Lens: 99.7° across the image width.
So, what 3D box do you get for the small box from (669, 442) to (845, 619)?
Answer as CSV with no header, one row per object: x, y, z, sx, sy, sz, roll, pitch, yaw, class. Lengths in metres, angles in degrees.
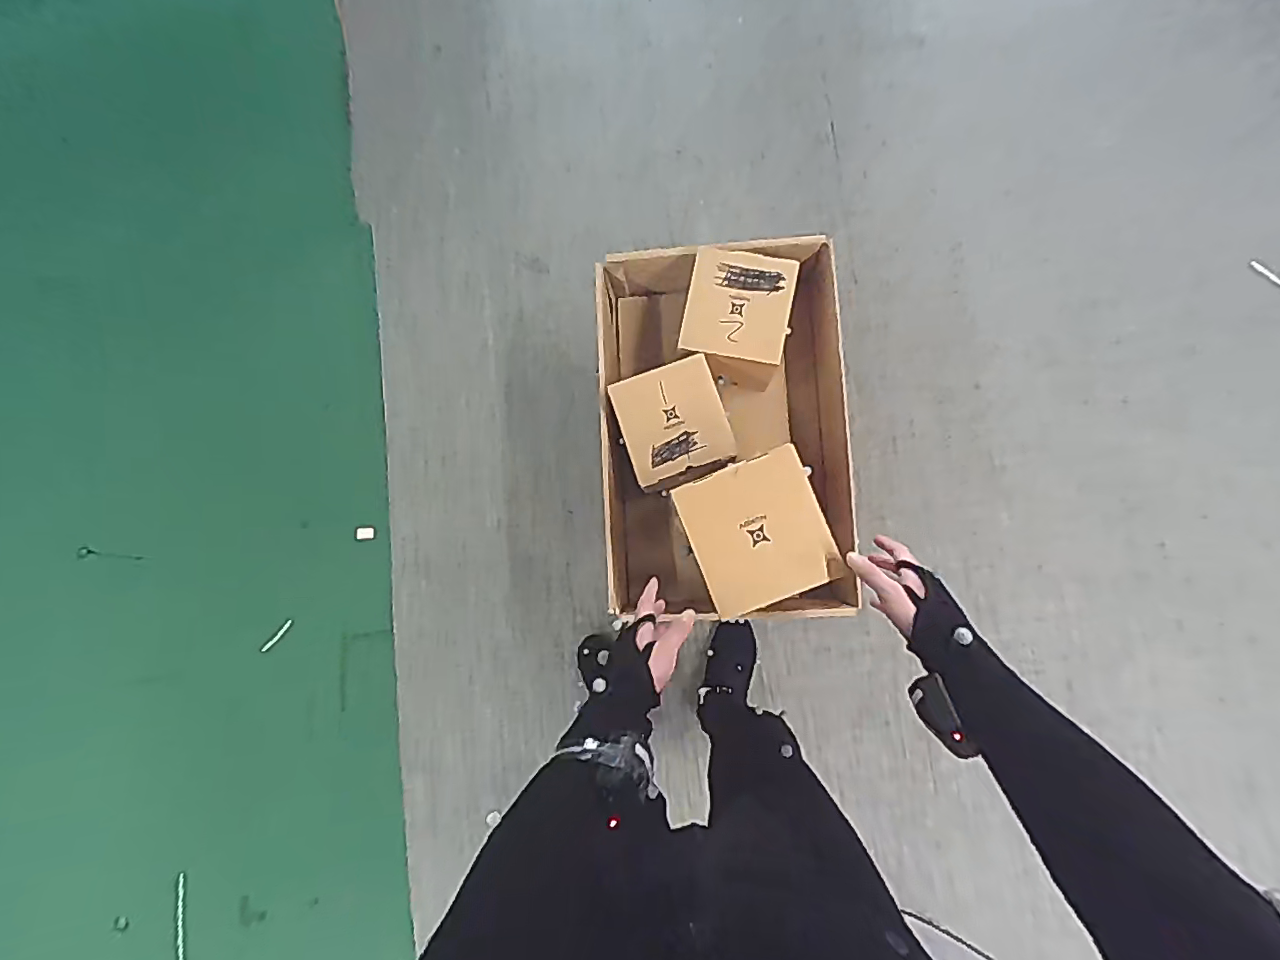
0.150,0.066,0.735,0.168,0.176,0.179,-22,83,4,small box
